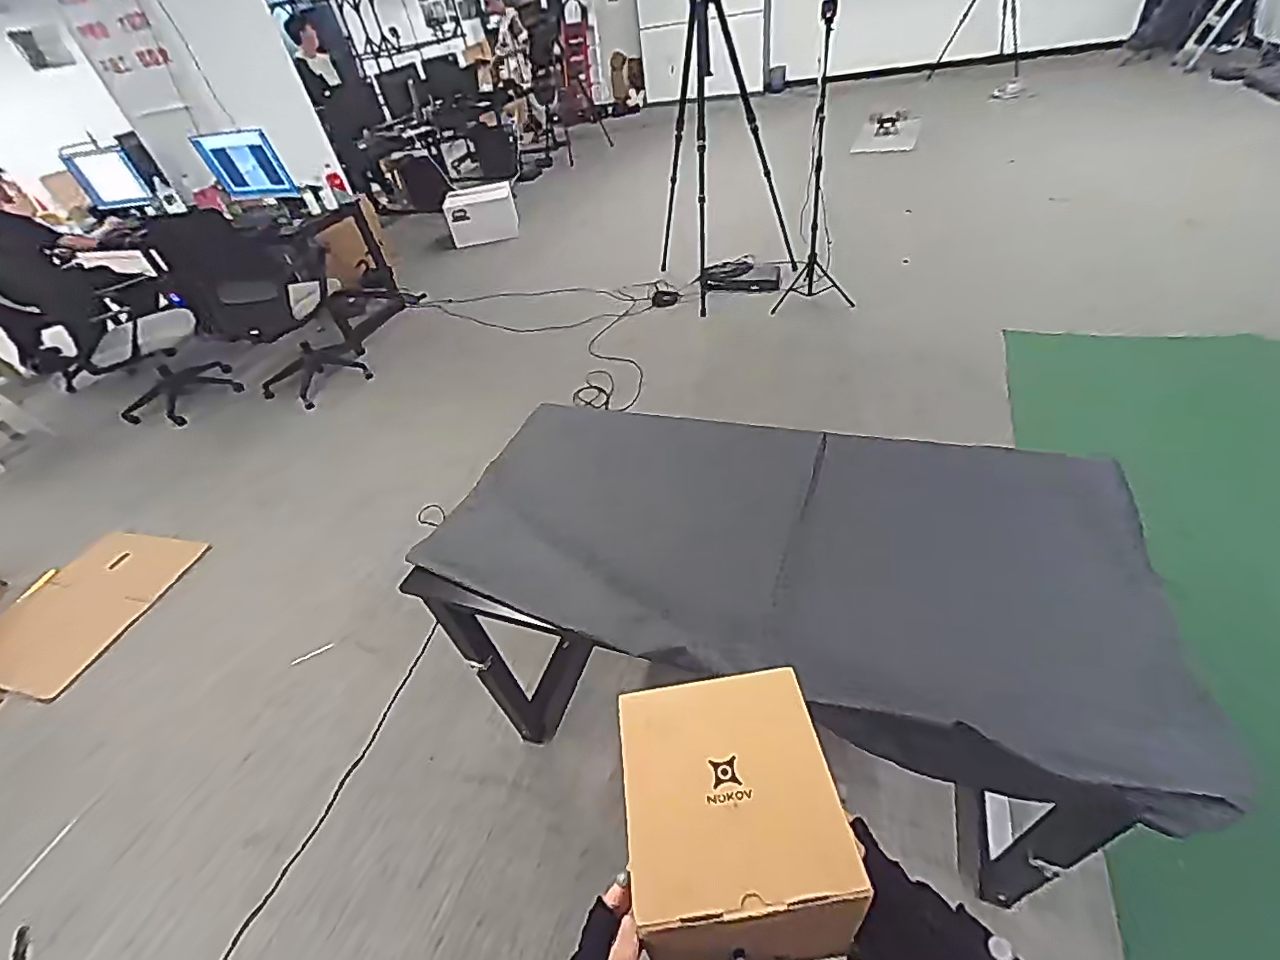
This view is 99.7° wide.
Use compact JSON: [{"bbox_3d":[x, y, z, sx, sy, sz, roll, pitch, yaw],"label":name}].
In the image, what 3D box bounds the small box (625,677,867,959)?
[{"bbox_3d":[0.081,0.312,0.493,0.168,0.176,0.179,-9,39,0],"label":"small box"}]
